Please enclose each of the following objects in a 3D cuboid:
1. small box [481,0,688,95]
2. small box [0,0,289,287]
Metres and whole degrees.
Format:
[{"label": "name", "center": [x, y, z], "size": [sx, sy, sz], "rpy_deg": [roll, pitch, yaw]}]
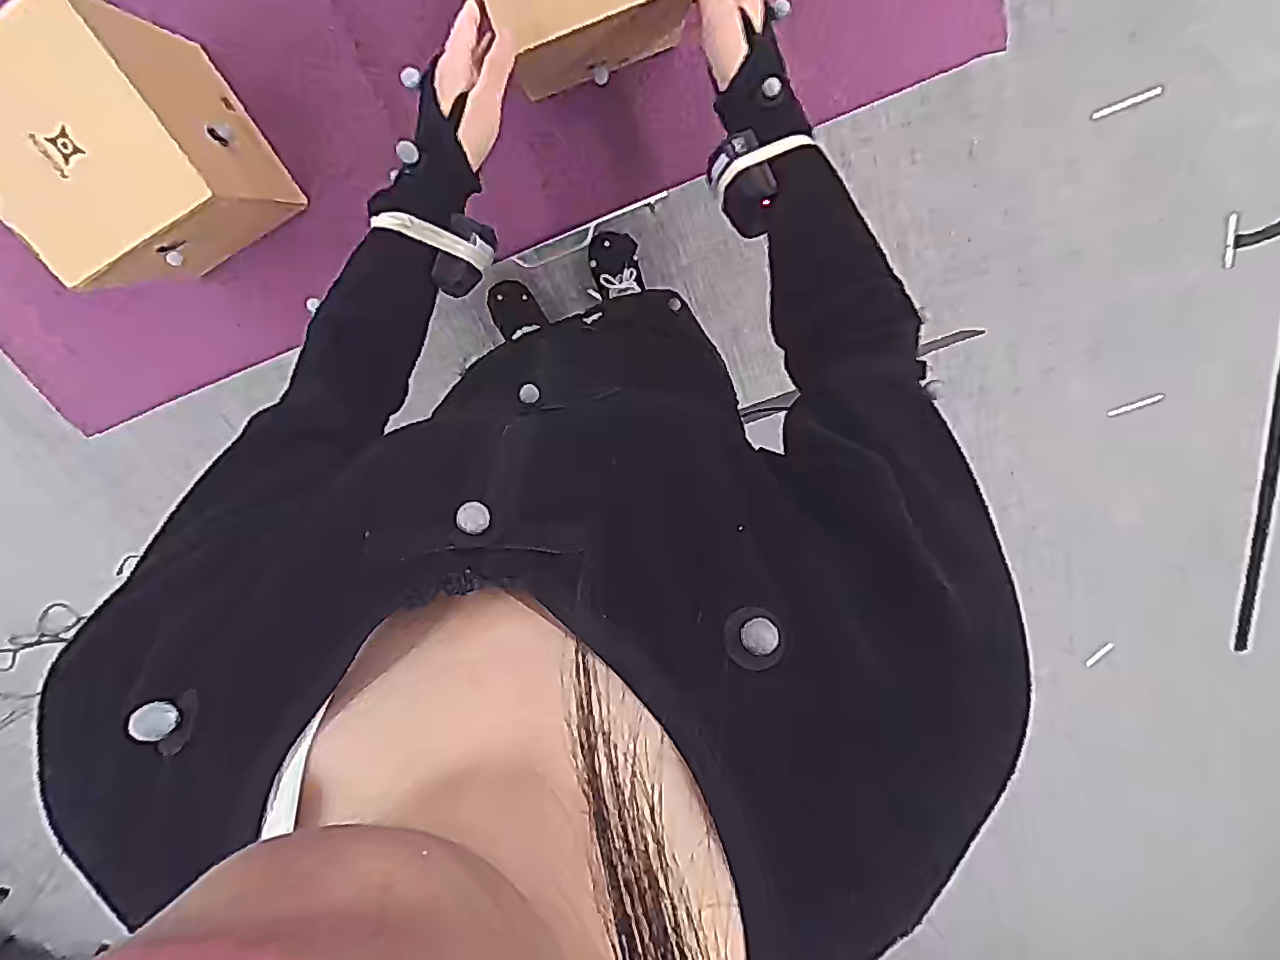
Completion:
[{"label": "small box", "center": [-0.065, -0.471, 0.464], "size": [0.168, 0.176, 0.179], "rpy_deg": [-17, 116, 5]}, {"label": "small box", "center": [-0.483, -0.311, 0.519], "size": [0.179, 0.176, 0.168], "rpy_deg": [-25, 114, 9]}]
